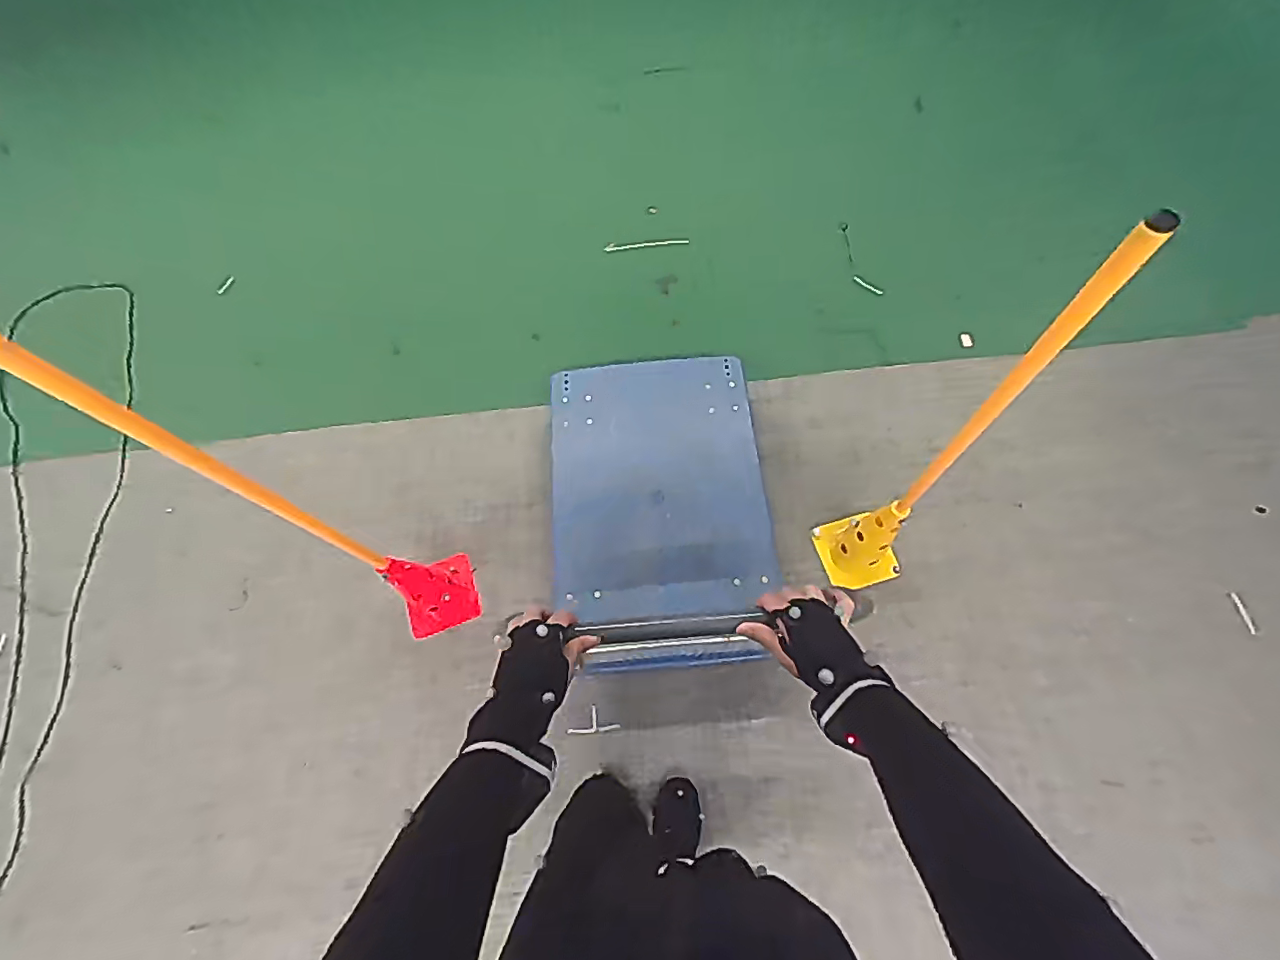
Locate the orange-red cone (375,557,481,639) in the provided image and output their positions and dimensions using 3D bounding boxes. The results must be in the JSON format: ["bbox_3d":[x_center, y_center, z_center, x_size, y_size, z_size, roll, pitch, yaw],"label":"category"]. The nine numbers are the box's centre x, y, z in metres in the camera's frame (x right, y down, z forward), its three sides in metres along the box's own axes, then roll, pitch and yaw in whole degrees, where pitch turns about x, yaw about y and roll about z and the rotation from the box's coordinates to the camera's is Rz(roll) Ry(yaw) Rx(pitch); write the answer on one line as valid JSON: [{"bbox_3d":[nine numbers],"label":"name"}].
[{"bbox_3d":[-0.576,0.269,1.392,0.199,0.360,0.198,-20,67,-4],"label":"orange-red cone"}]
